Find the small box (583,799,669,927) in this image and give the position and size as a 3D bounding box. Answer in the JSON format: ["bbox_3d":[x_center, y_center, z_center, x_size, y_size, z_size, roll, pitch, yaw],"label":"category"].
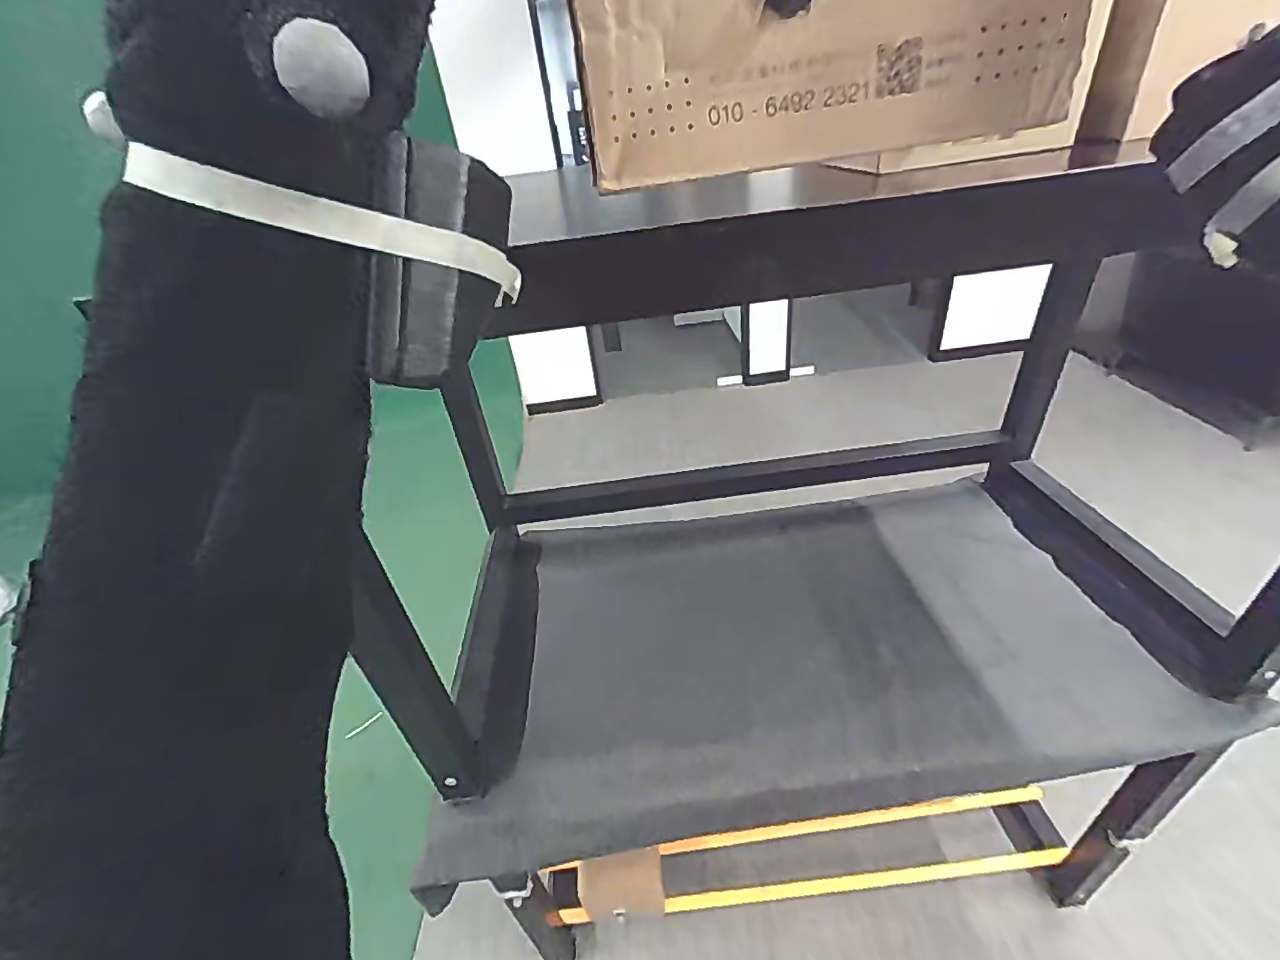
[{"bbox_3d":[-0.030,0.836,1.183,0.168,0.176,0.179,-8,35,0],"label":"small box"}]

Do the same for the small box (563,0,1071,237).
[{"bbox_3d":[0.052,-0.210,0.234,0.168,0.176,0.179,-8,30,1],"label":"small box"}]
